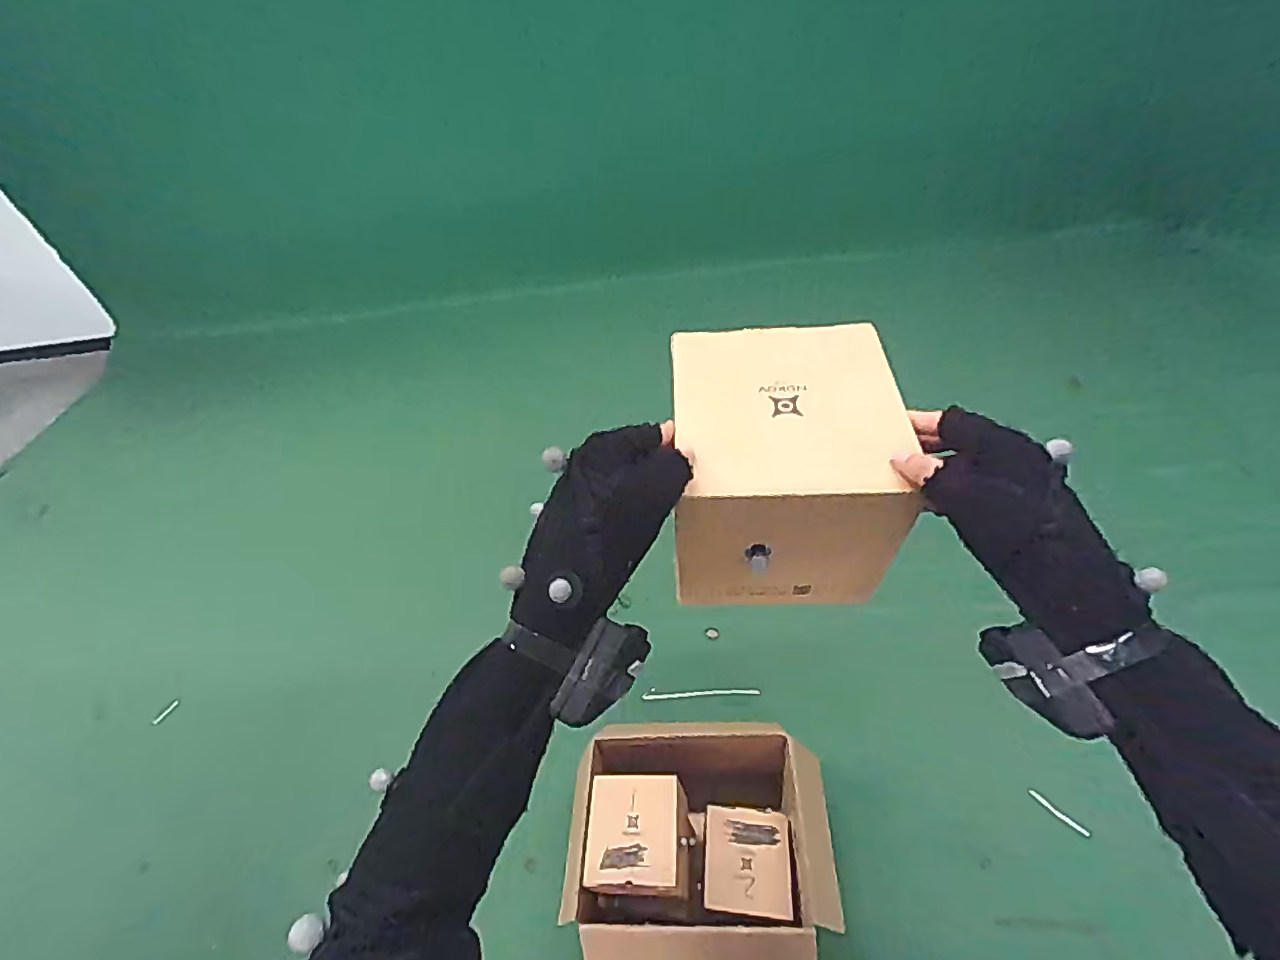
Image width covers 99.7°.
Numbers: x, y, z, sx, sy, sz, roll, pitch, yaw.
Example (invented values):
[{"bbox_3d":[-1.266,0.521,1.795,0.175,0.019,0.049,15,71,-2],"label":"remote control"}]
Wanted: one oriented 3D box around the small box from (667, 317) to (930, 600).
[{"bbox_3d":[0.110,-0.011,0.452,0.168,0.176,0.179,-1,51,5],"label":"small box"}]
